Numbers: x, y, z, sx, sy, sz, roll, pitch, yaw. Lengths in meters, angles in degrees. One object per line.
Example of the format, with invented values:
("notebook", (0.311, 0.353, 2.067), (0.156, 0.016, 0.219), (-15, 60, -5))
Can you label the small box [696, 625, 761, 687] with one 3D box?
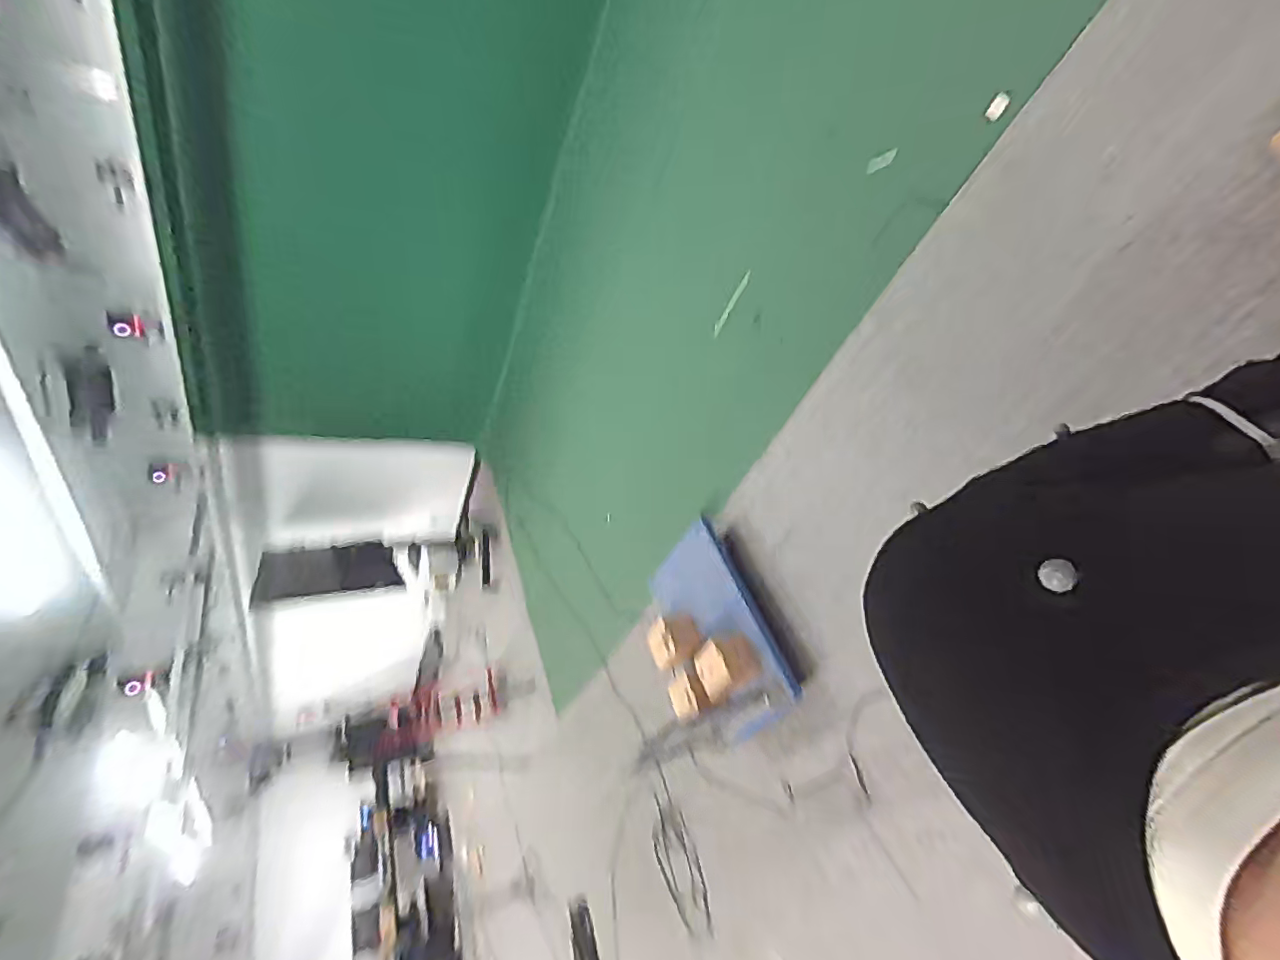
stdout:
("small box", (0.360, 0.702, 2.173), (0.179, 0.176, 0.168), (-61, 42, 38))

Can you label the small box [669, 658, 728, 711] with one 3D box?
("small box", (0.259, 0.875, 2.343), (0.179, 0.176, 0.168), (-58, 44, 43))
